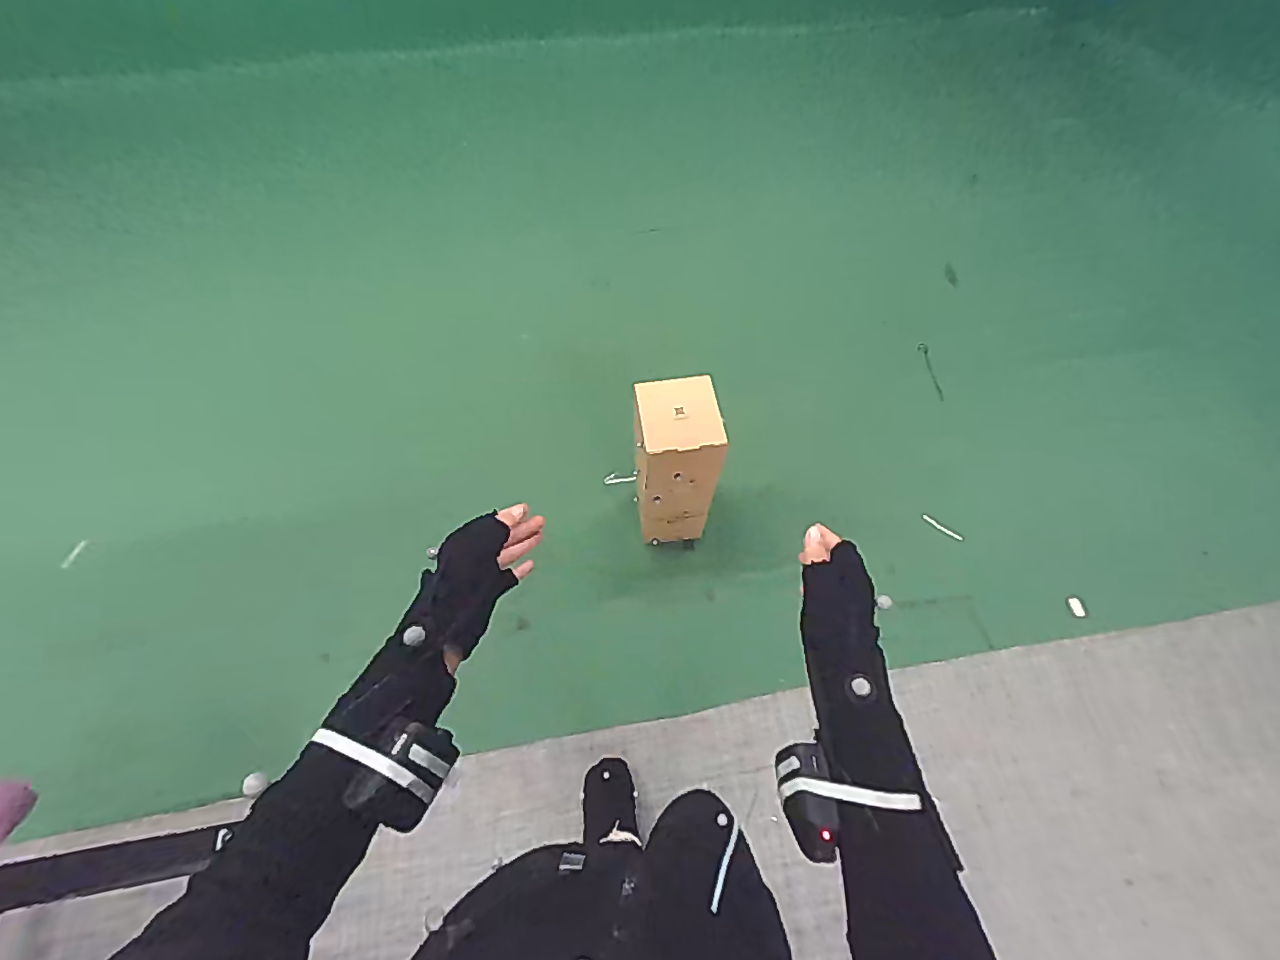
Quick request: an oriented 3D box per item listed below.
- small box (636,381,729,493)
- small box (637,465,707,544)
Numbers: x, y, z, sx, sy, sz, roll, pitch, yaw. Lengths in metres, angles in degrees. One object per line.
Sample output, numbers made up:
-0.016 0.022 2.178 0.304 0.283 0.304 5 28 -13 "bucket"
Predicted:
0.084 -0.091 1.185 0.168 0.176 0.179 -8 62 -5 "small box"
0.083 0.065 1.473 0.168 0.176 0.179 -6 62 -4 "small box"
